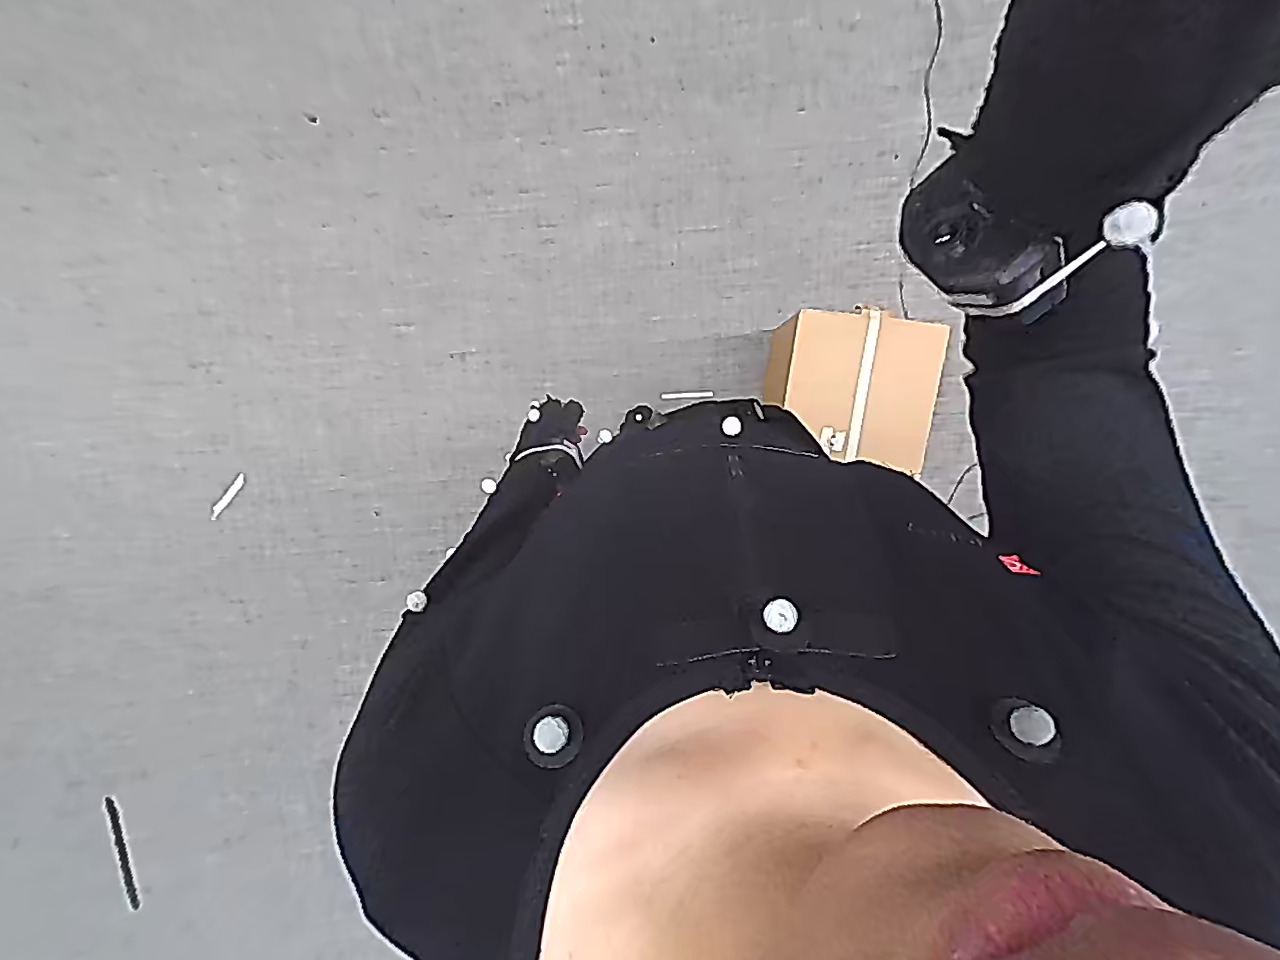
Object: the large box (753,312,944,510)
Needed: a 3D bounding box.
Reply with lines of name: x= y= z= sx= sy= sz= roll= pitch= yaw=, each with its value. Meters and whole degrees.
large box: x=0.477 y=-0.170 z=1.318 sx=0.320 sy=0.320 sz=0.408 roll=8 pitch=99 yaw=2
